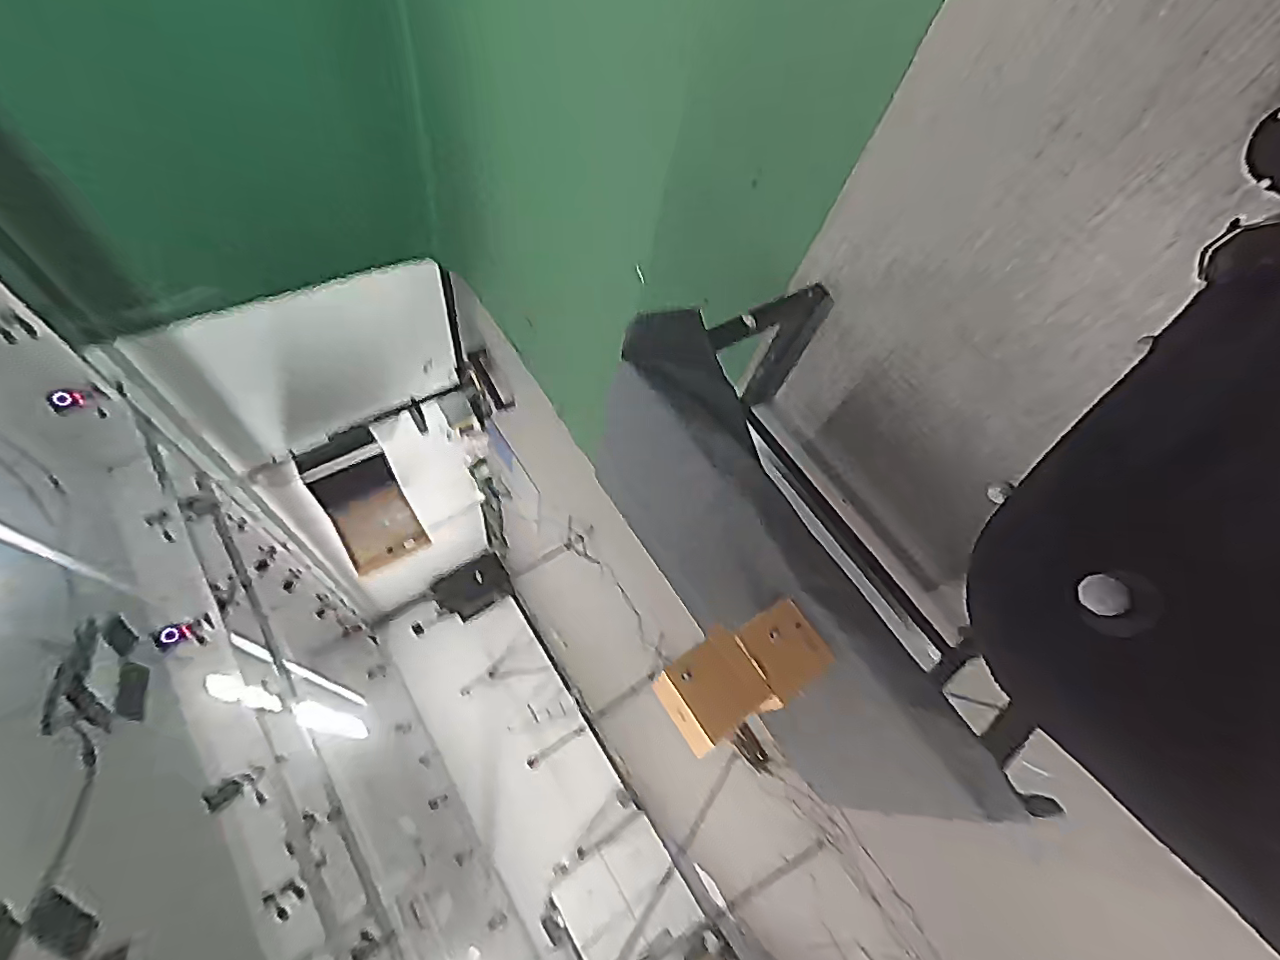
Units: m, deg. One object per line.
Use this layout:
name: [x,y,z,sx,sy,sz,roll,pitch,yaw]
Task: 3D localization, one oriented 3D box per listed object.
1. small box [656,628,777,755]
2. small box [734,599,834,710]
small box: [0.160,0.448,1.151,0.179,0.176,0.168,52,155,24]
small box: [0.301,0.389,1.208,0.168,0.176,0.179,55,157,18]
